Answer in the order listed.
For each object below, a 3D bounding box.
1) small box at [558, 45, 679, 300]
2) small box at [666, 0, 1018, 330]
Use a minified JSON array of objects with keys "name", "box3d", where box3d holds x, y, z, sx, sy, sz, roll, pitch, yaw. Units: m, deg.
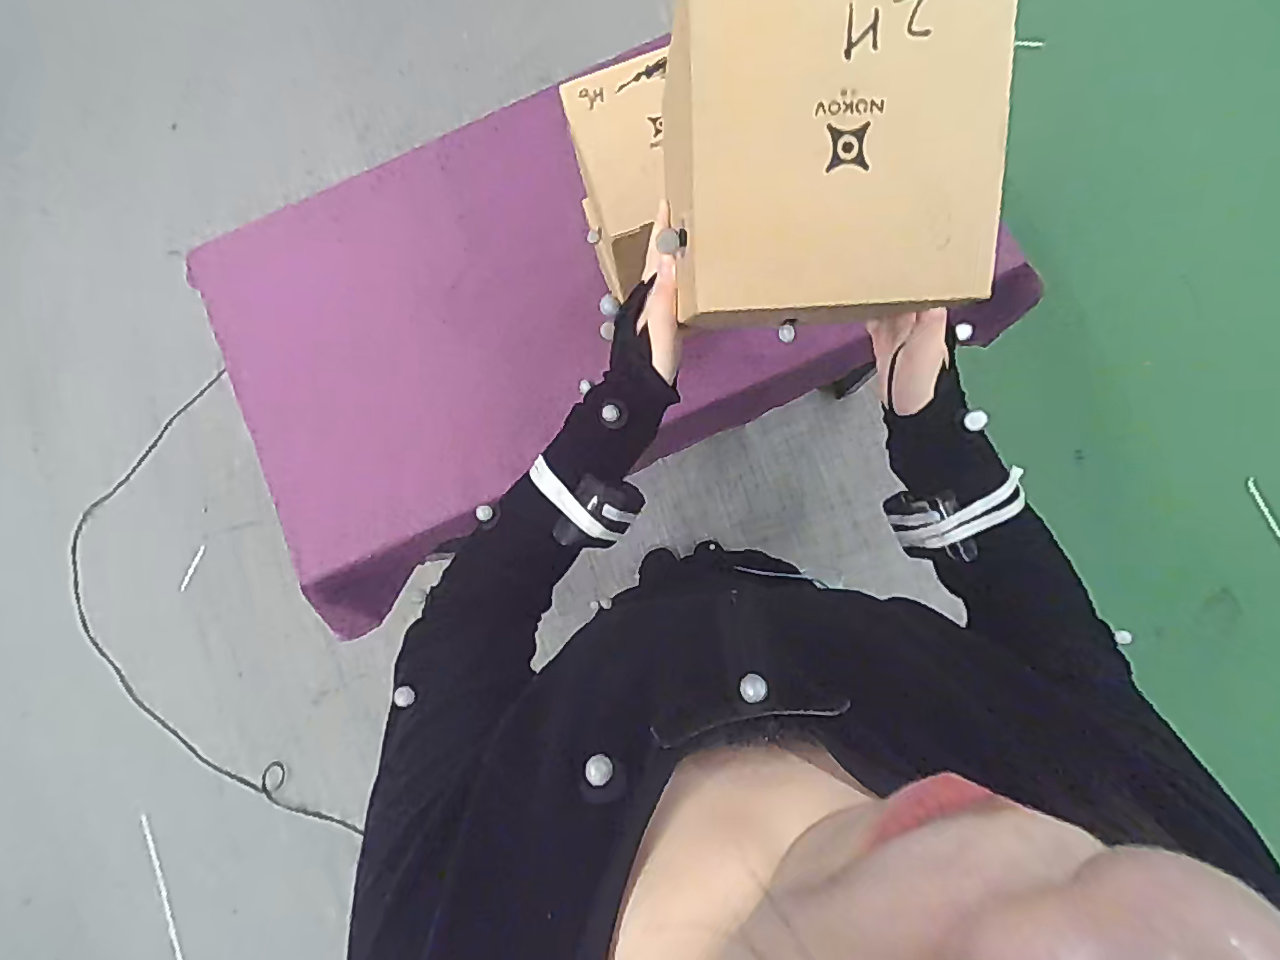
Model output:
[{"name":"small box","box3d":[0.025,-0.323,0.602,0.168,0.176,0.179,-18,83,2]},{"name":"small box","box3d":[0.107,-0.193,0.362,0.168,0.176,0.179,-2,102,-2]}]
